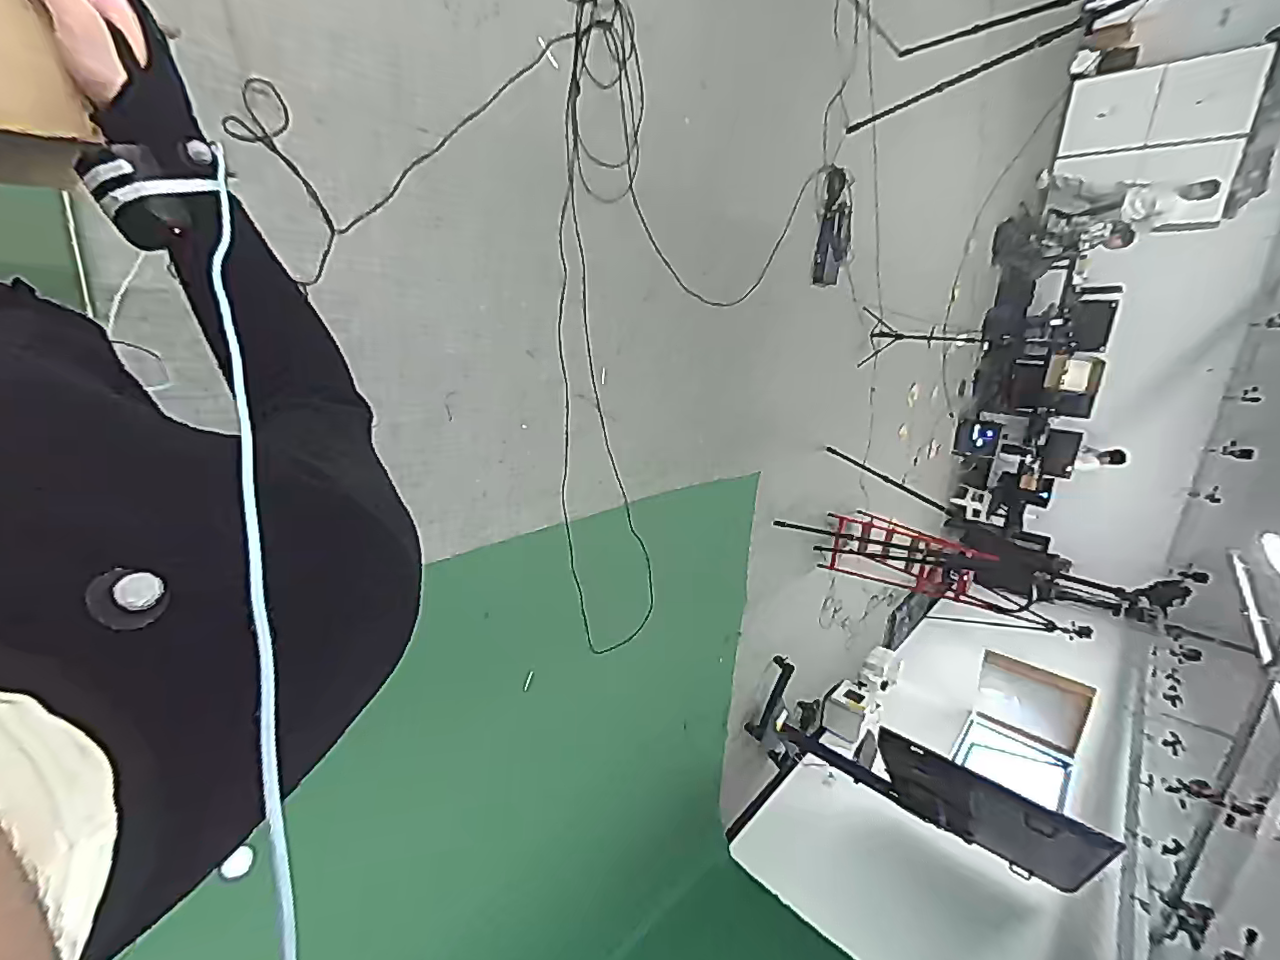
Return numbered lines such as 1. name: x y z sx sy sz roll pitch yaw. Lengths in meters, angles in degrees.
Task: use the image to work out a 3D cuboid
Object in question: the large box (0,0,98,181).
1. large box: -0.655 -0.392 0.317 0.408 0.320 0.320 -19 118 -45
